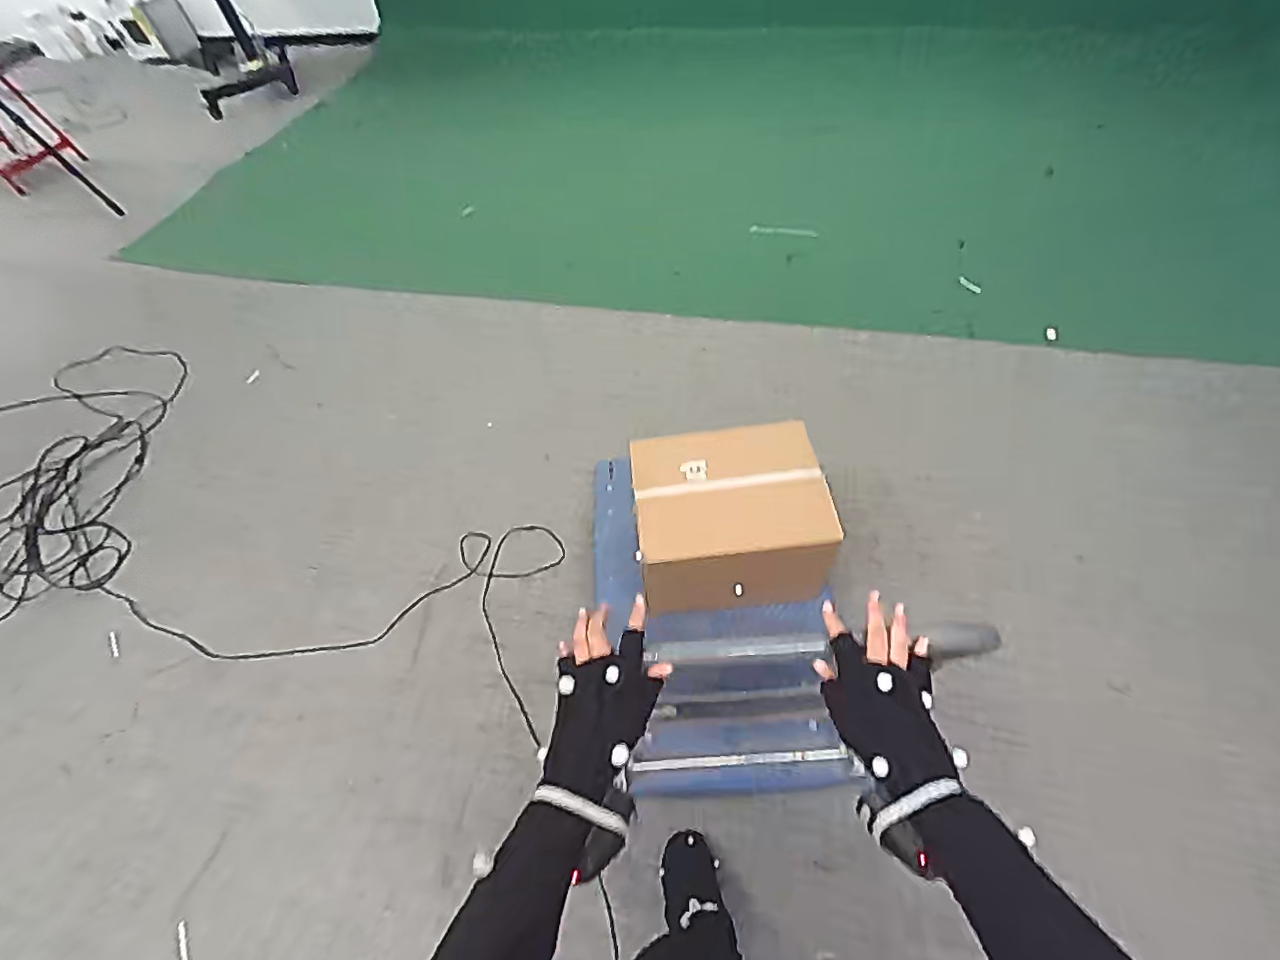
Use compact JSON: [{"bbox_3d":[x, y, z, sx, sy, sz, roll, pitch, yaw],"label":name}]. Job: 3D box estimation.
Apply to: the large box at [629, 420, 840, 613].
[{"bbox_3d":[0.203,0.096,1.285,0.408,0.320,0.320,-8,54,1],"label":"large box"}]
